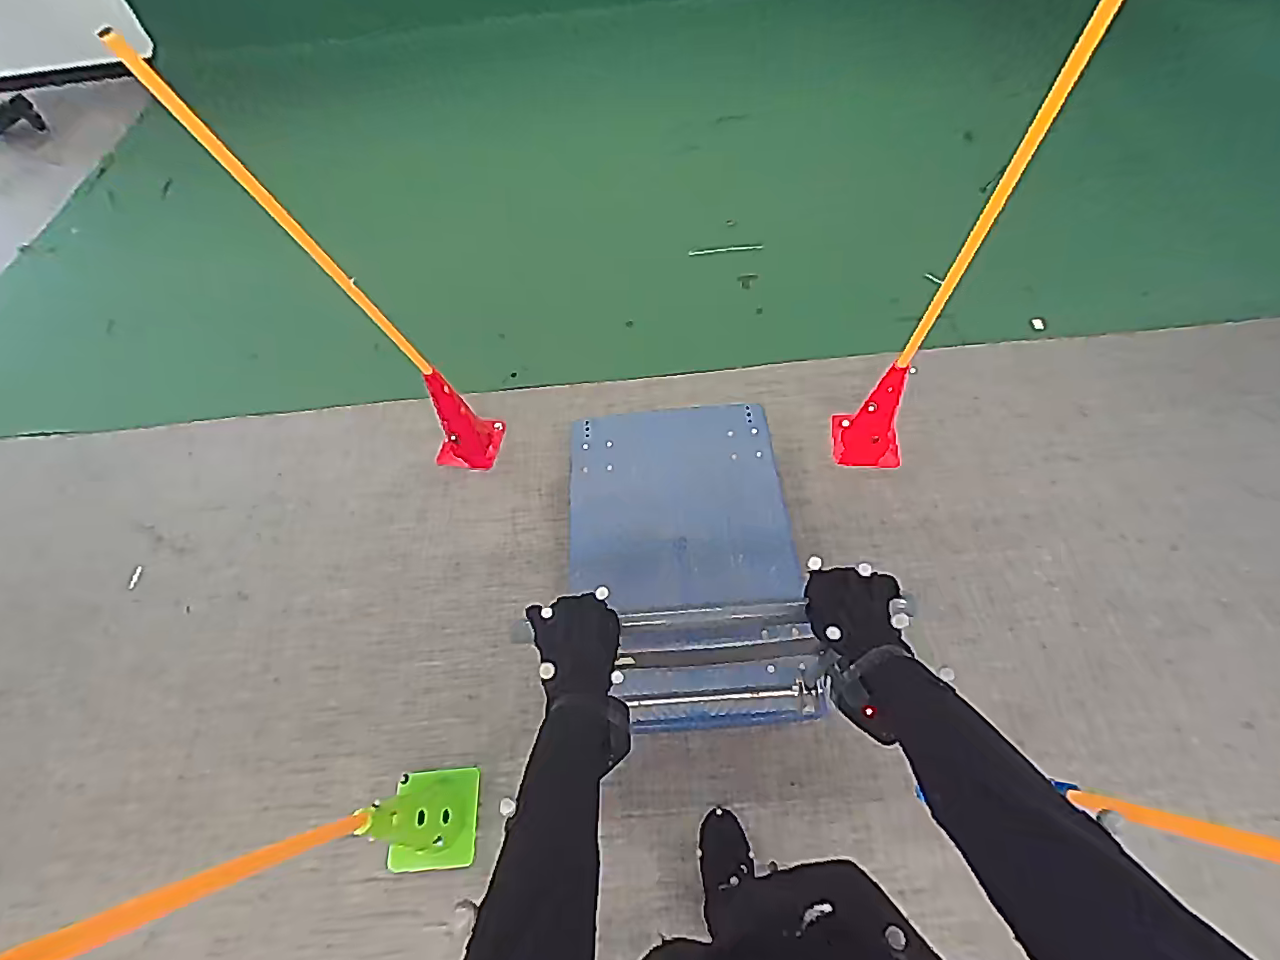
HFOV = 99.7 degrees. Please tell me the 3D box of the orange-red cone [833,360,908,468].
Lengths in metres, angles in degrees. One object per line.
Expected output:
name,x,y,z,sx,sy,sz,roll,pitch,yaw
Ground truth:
orange-red cone,0.701,-0.211,1.565,0.198,0.360,0.199,4,61,9
